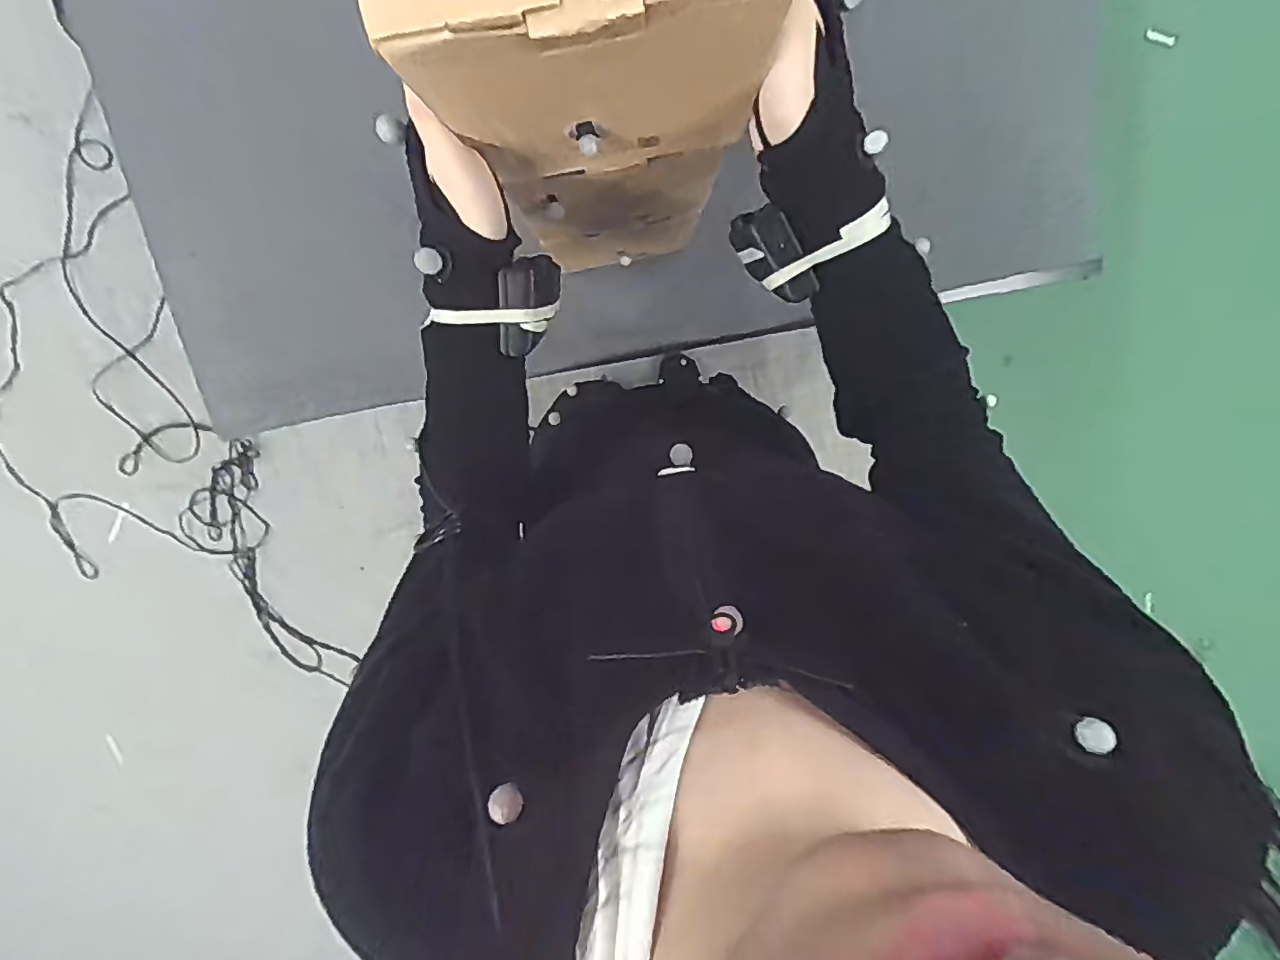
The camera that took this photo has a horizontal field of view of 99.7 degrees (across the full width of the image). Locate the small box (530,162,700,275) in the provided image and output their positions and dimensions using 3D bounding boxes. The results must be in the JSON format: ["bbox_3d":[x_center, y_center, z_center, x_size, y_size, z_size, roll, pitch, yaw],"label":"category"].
[{"bbox_3d":[-0.036,-0.348,0.606,0.168,0.176,0.179,-11,101,2],"label":"small box"}]

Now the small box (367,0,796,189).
[{"bbox_3d":[-0.031,-0.271,0.265,0.168,0.176,0.179,-8,104,4],"label":"small box"}]
